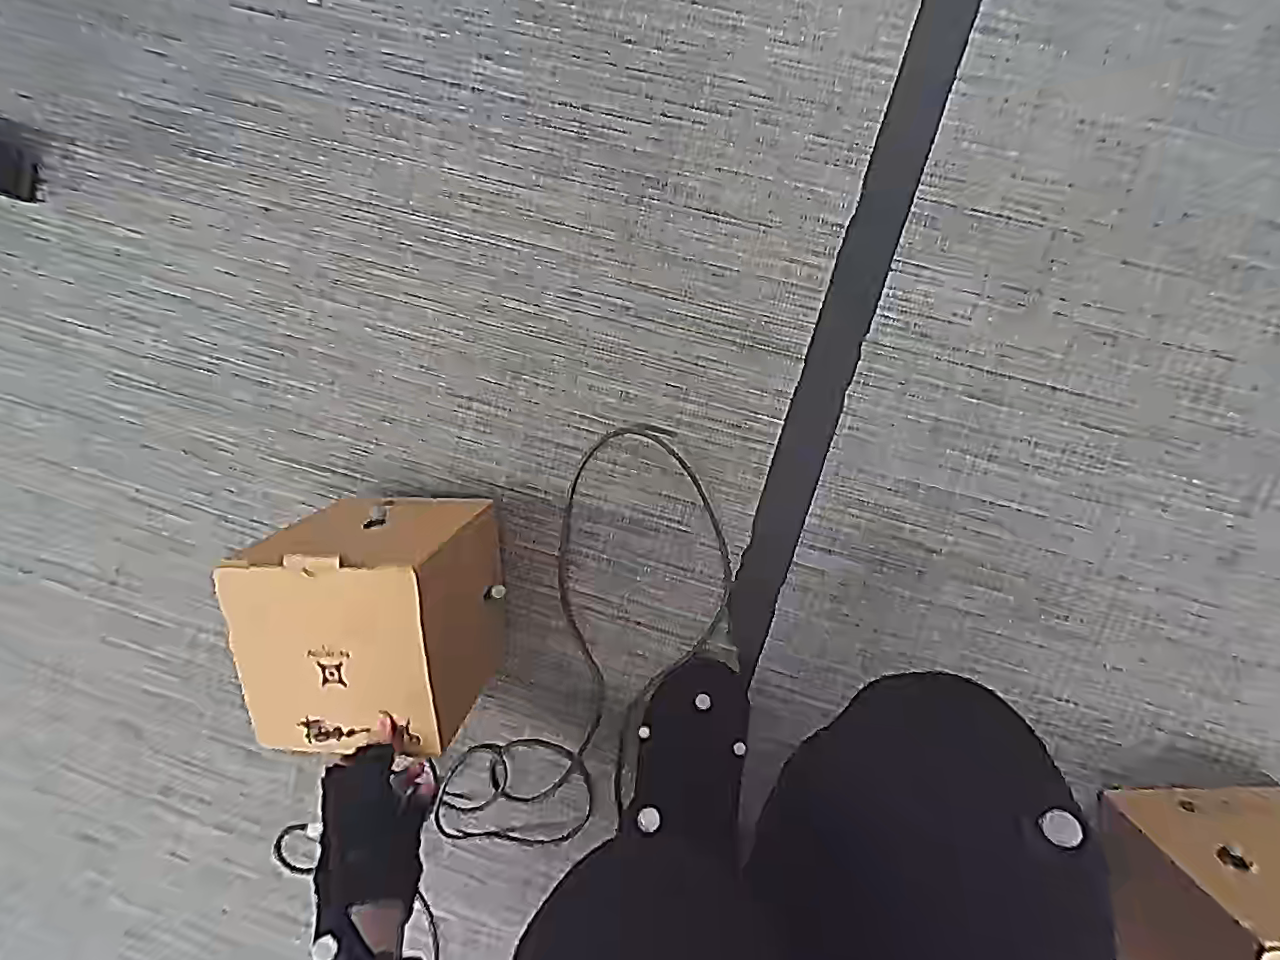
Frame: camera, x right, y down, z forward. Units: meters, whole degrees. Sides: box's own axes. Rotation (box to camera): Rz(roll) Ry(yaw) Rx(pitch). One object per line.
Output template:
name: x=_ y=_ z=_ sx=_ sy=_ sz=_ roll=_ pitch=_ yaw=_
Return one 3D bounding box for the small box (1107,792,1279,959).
small box: x=0.538 y=0.393 z=0.454 sx=0.168 sy=0.176 sz=0.179 roll=-5 pitch=97 yaw=9

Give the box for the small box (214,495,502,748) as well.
small box: x=-0.238 y=0.115 z=0.503 sx=0.168 sy=0.176 sz=0.179 roll=0 pitch=103 yaw=6
